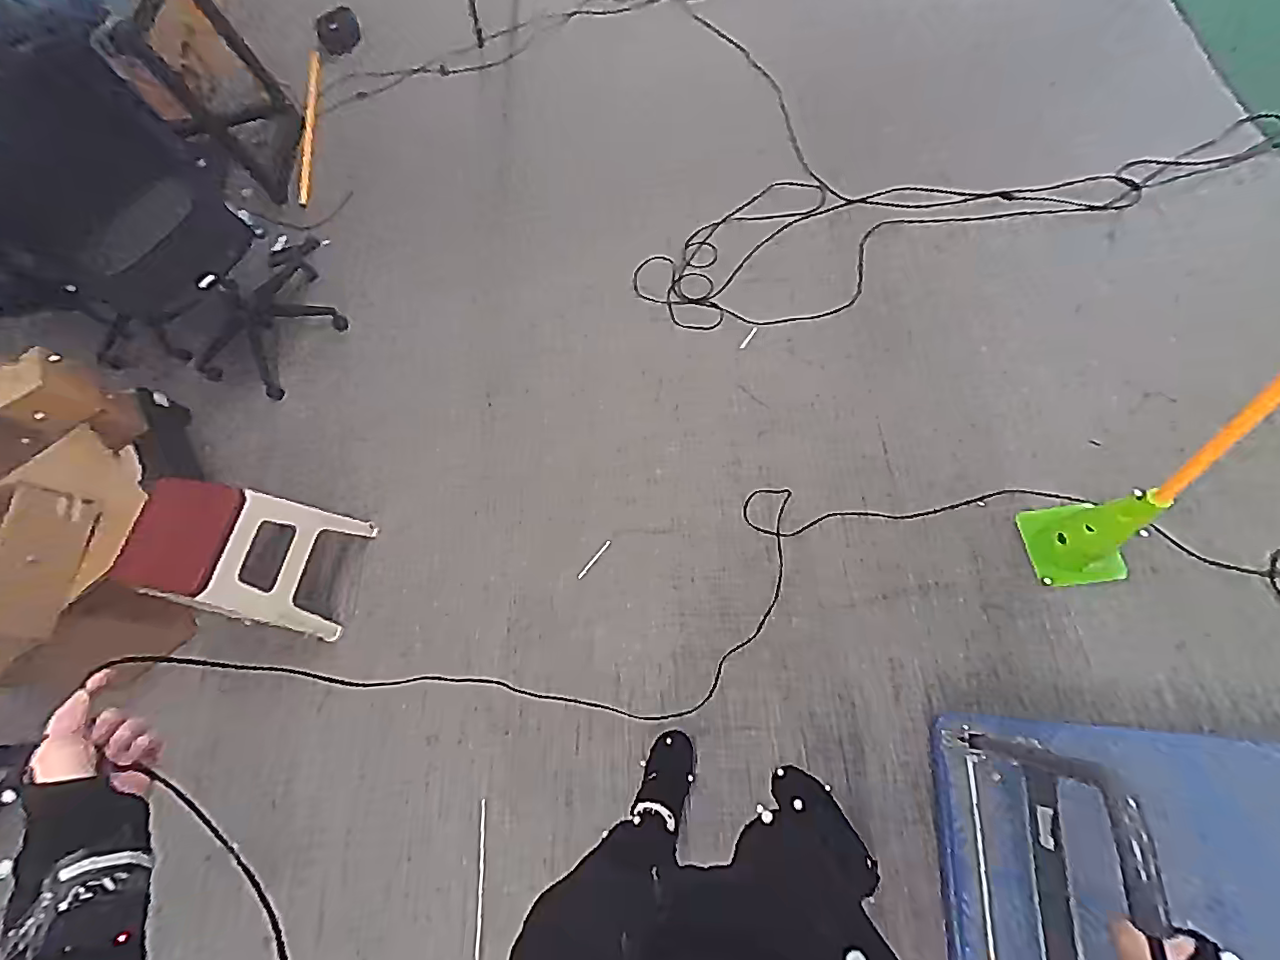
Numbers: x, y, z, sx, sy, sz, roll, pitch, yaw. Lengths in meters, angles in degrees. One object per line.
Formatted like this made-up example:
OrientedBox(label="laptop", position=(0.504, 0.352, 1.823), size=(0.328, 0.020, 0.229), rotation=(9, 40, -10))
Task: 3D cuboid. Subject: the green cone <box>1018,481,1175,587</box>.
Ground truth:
OrientedBox(label="green cone", position=(1.052, 0.093, 1.201), size=(0.200, 0.368, 0.202), rotation=(-10, 65, 8))
